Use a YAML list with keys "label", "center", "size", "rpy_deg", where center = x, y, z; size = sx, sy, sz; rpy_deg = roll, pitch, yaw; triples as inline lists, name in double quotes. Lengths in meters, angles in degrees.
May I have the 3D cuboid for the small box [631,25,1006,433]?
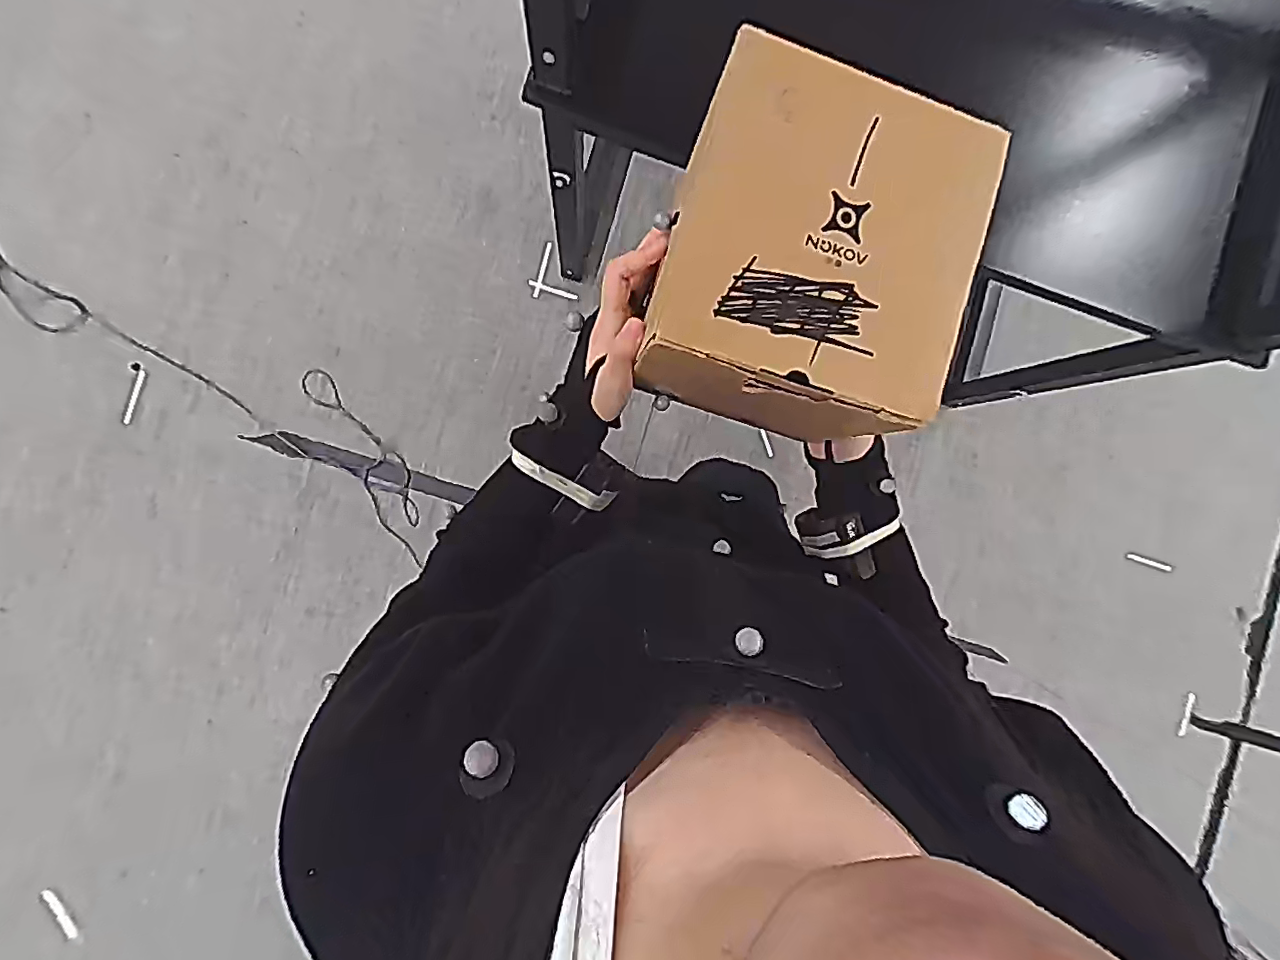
- label: "small box"
  center: [0.096, -0.137, 0.372]
  size: [0.168, 0.176, 0.179]
  rpy_deg: [16, 89, -7]
